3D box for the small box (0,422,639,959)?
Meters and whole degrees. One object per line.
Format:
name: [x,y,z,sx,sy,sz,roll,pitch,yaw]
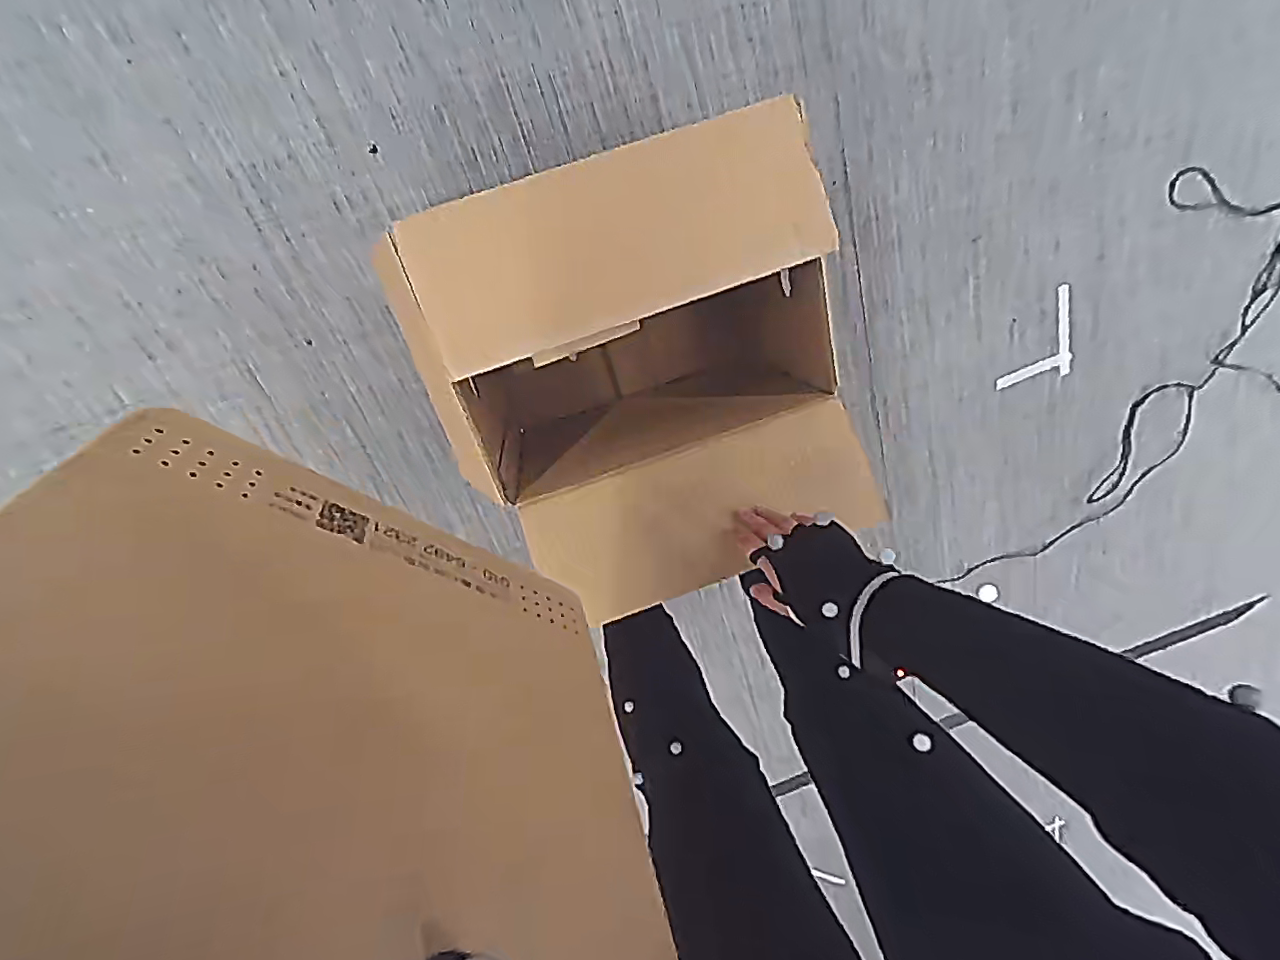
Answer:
small box: [-0.118,0.117,0.158,0.168,0.176,0.179,33,106,-32]
